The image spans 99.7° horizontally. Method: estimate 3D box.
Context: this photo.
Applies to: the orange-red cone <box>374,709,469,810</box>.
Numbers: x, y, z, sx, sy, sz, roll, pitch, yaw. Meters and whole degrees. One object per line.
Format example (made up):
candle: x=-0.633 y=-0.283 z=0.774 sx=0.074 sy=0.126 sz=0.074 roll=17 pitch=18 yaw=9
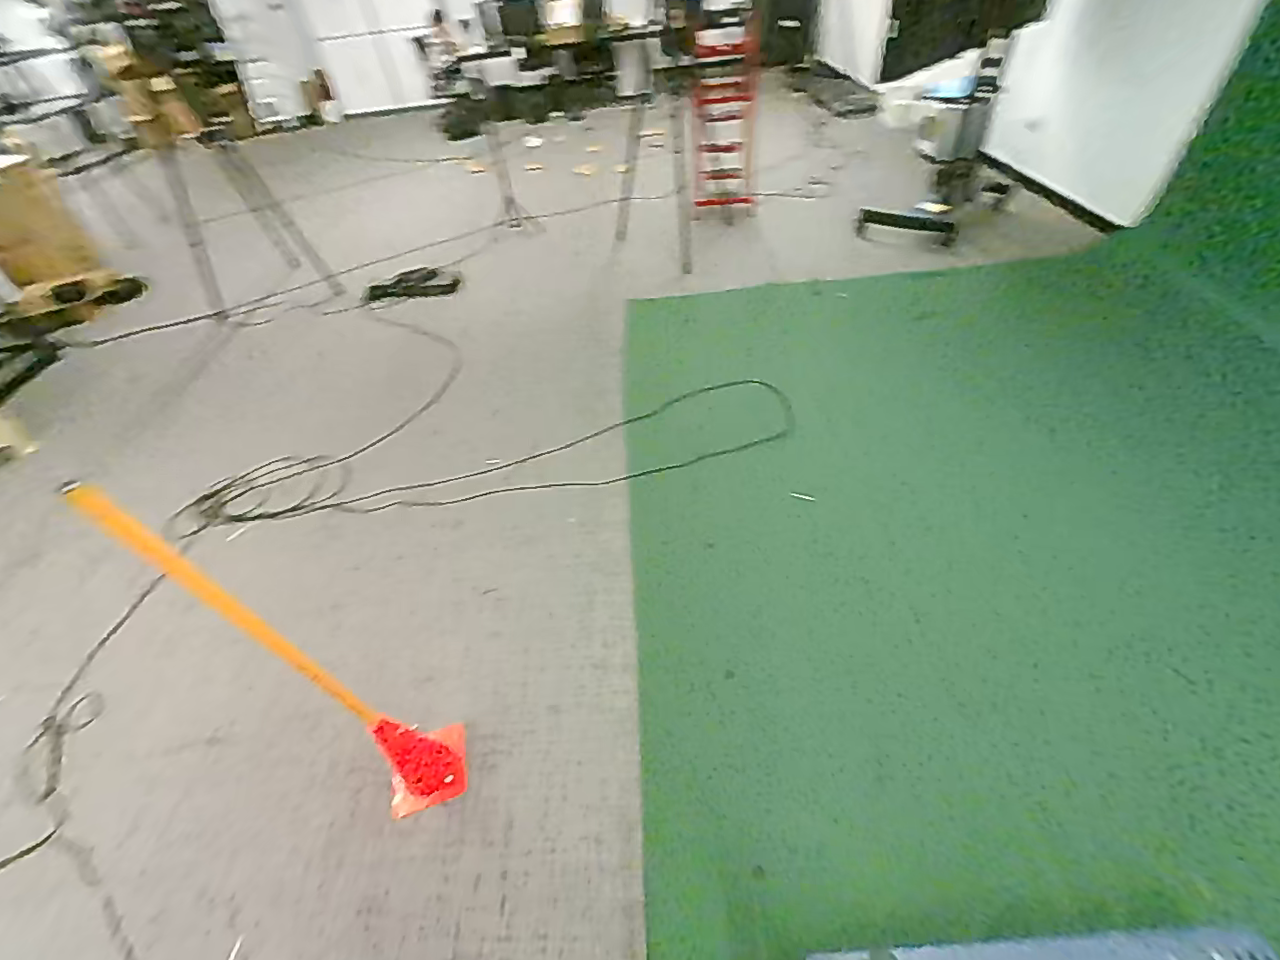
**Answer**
orange-red cone: x=-0.604 y=0.688 z=1.415 sx=0.198 sy=0.360 sz=0.199 roll=-16 pitch=45 yaw=-8
